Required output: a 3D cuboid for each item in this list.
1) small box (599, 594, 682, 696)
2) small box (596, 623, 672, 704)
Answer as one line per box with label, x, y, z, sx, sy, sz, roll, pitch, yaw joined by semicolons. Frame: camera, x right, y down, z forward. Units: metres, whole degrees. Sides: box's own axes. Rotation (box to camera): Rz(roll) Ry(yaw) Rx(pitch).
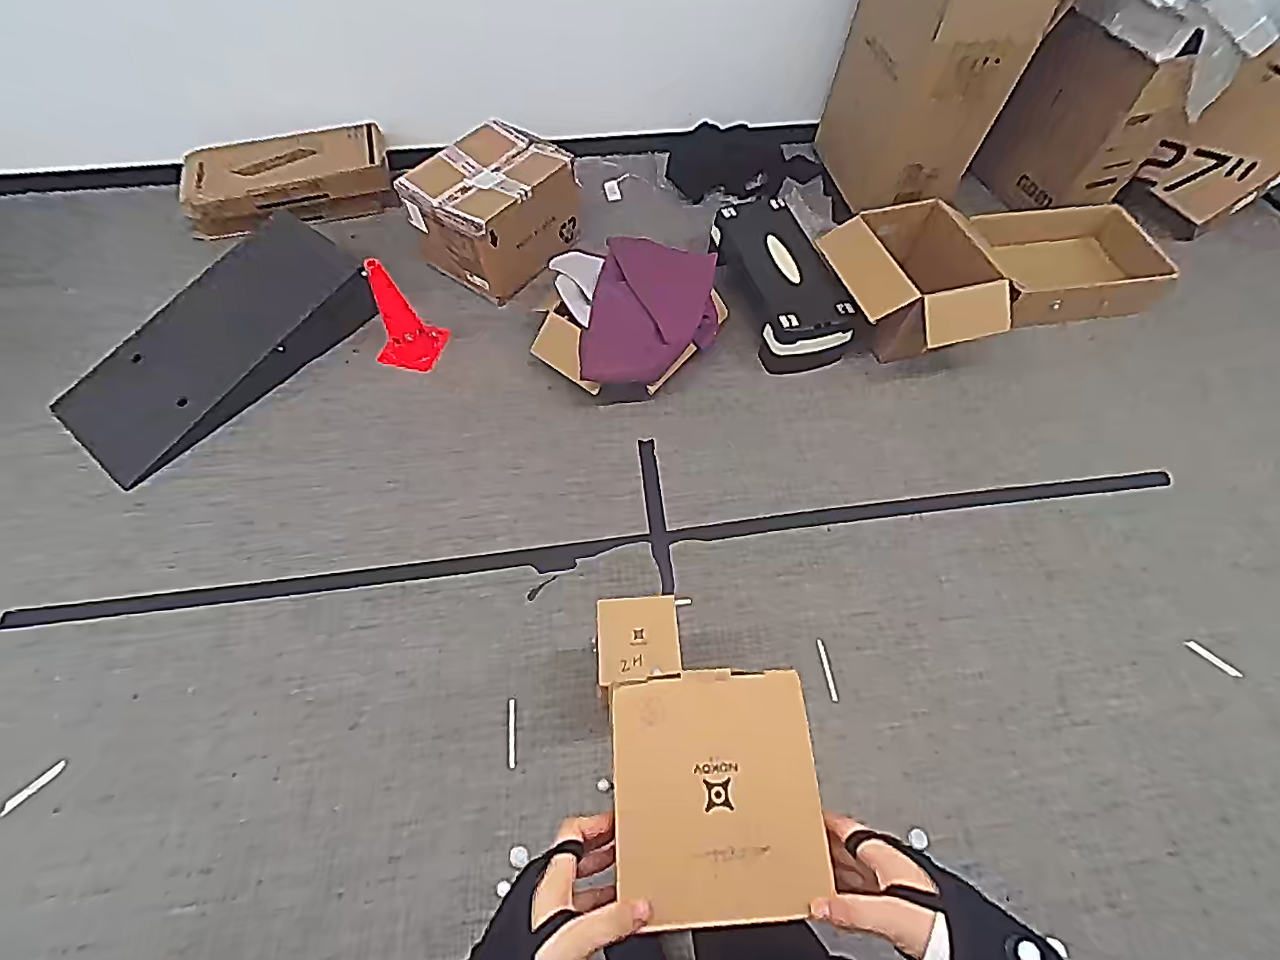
small box;-0.004;0.356;1.161;0.168;0.176;0.179;-3;62;-2
small box;-0.013;0.440;1.303;0.179;0.176;0.168;-2;62;-3
